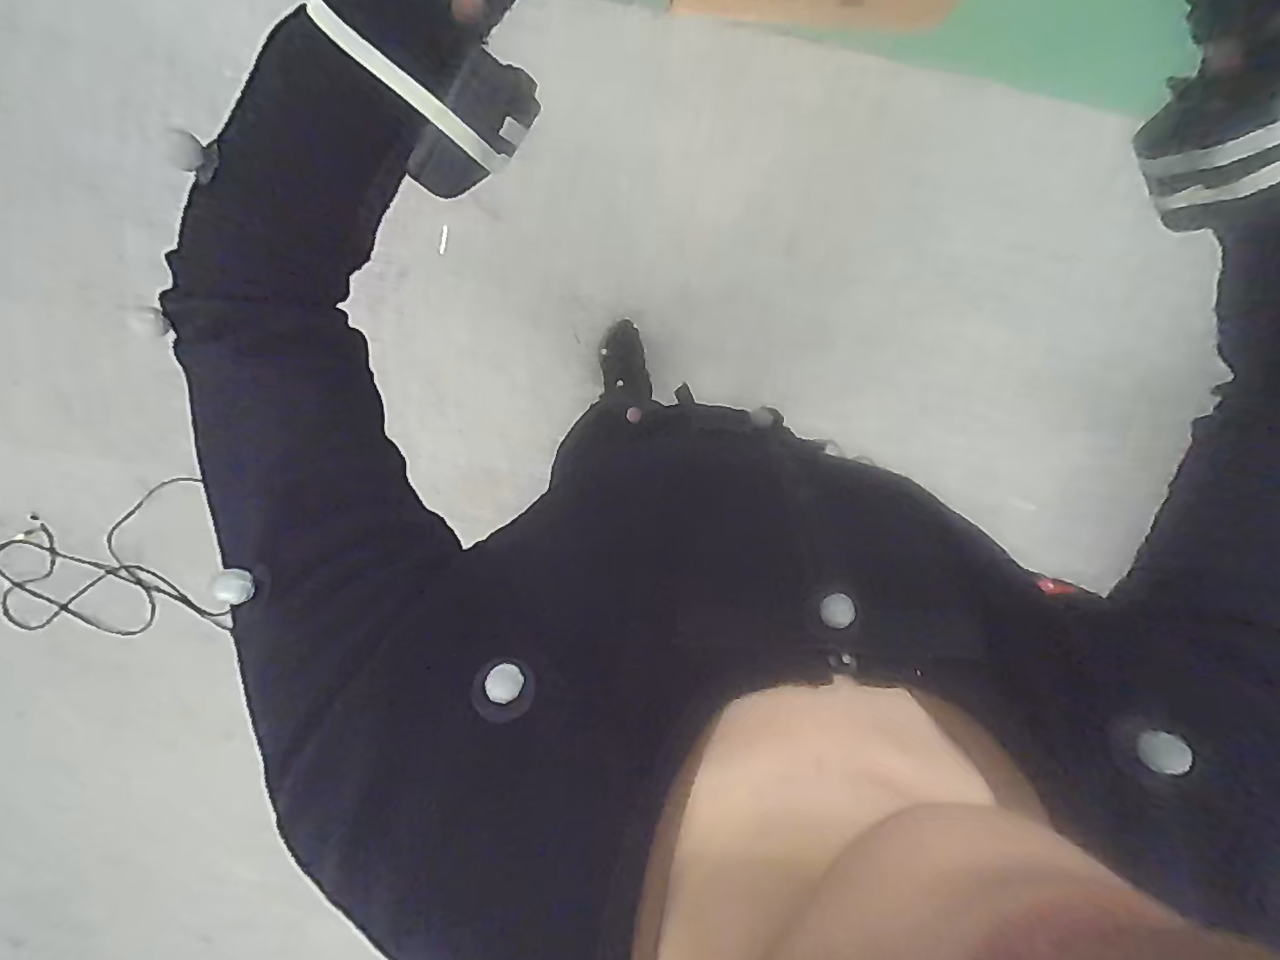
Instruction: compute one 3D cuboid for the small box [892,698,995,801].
[{"bbox_3d":[0.841,0.752,1.520,0.168,0.176,0.179,16,99,-3],"label":"small box"}]
